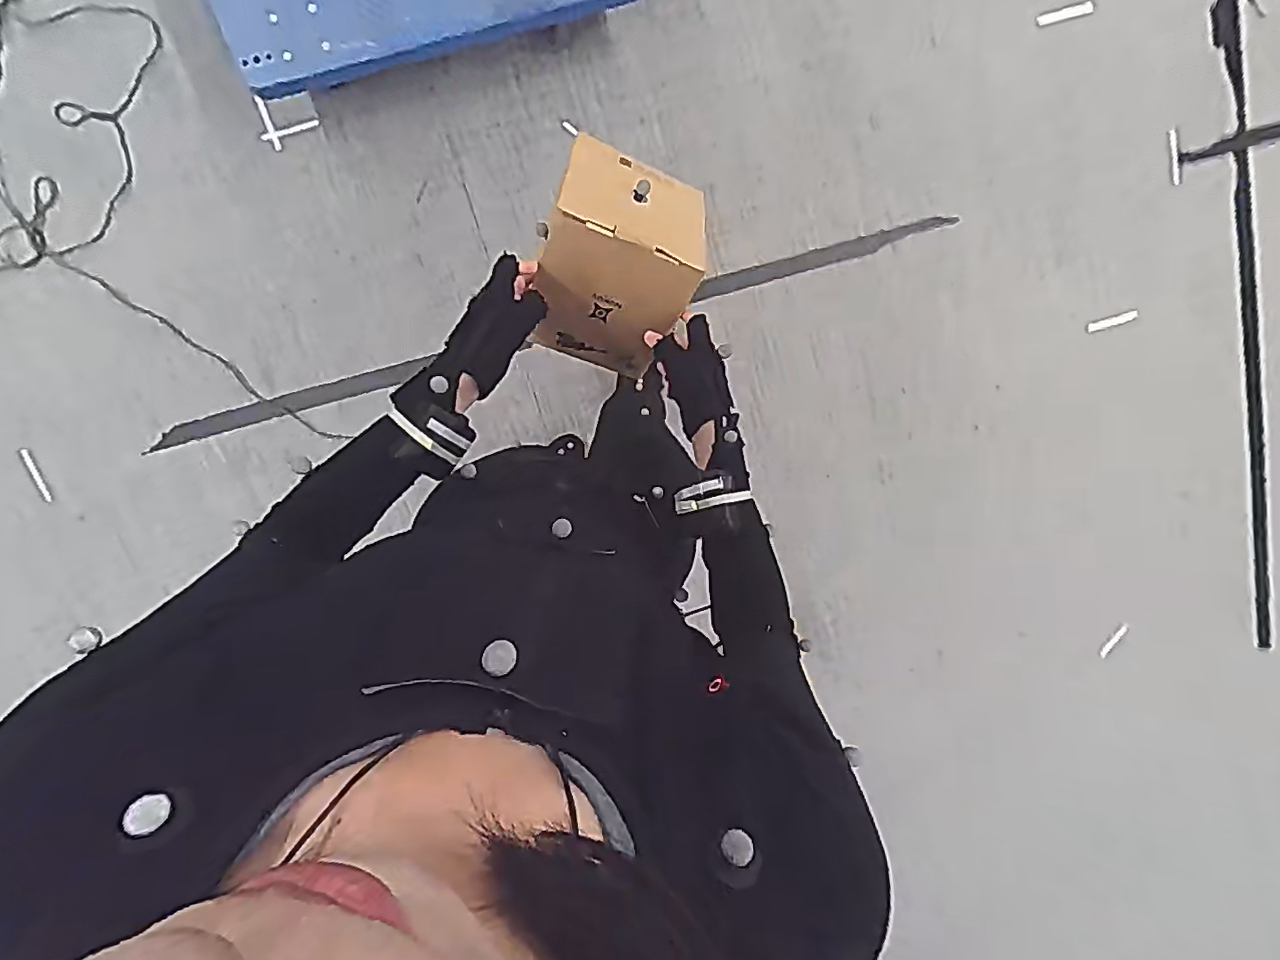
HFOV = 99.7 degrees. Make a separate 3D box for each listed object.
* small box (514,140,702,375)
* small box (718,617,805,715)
[{"bbox_3d":[-0.041,-0.265,0.652,0.168,0.176,0.179,16,142,-17],"label":"small box"},{"bbox_3d":[0.342,0.534,1.574,0.179,0.176,0.168,-30,103,-1],"label":"small box"}]
